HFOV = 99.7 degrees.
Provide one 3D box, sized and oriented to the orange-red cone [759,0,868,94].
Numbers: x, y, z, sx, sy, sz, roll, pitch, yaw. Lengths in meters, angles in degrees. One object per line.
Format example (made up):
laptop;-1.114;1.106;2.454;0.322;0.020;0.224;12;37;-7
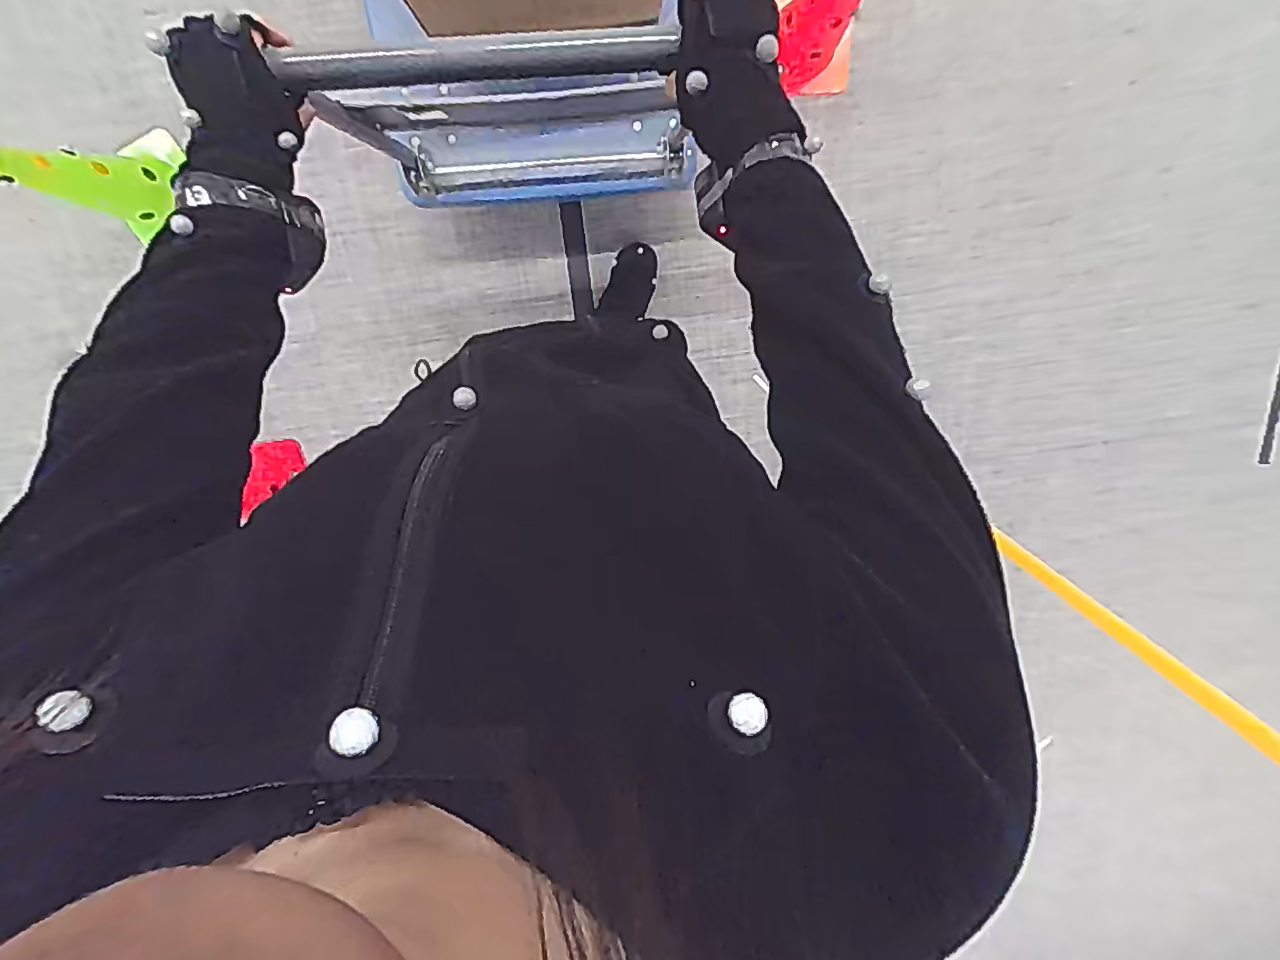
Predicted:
orange-red cone;0.365;-0.873;0.977;0.199;0.360;0.198;-2;110;-4
